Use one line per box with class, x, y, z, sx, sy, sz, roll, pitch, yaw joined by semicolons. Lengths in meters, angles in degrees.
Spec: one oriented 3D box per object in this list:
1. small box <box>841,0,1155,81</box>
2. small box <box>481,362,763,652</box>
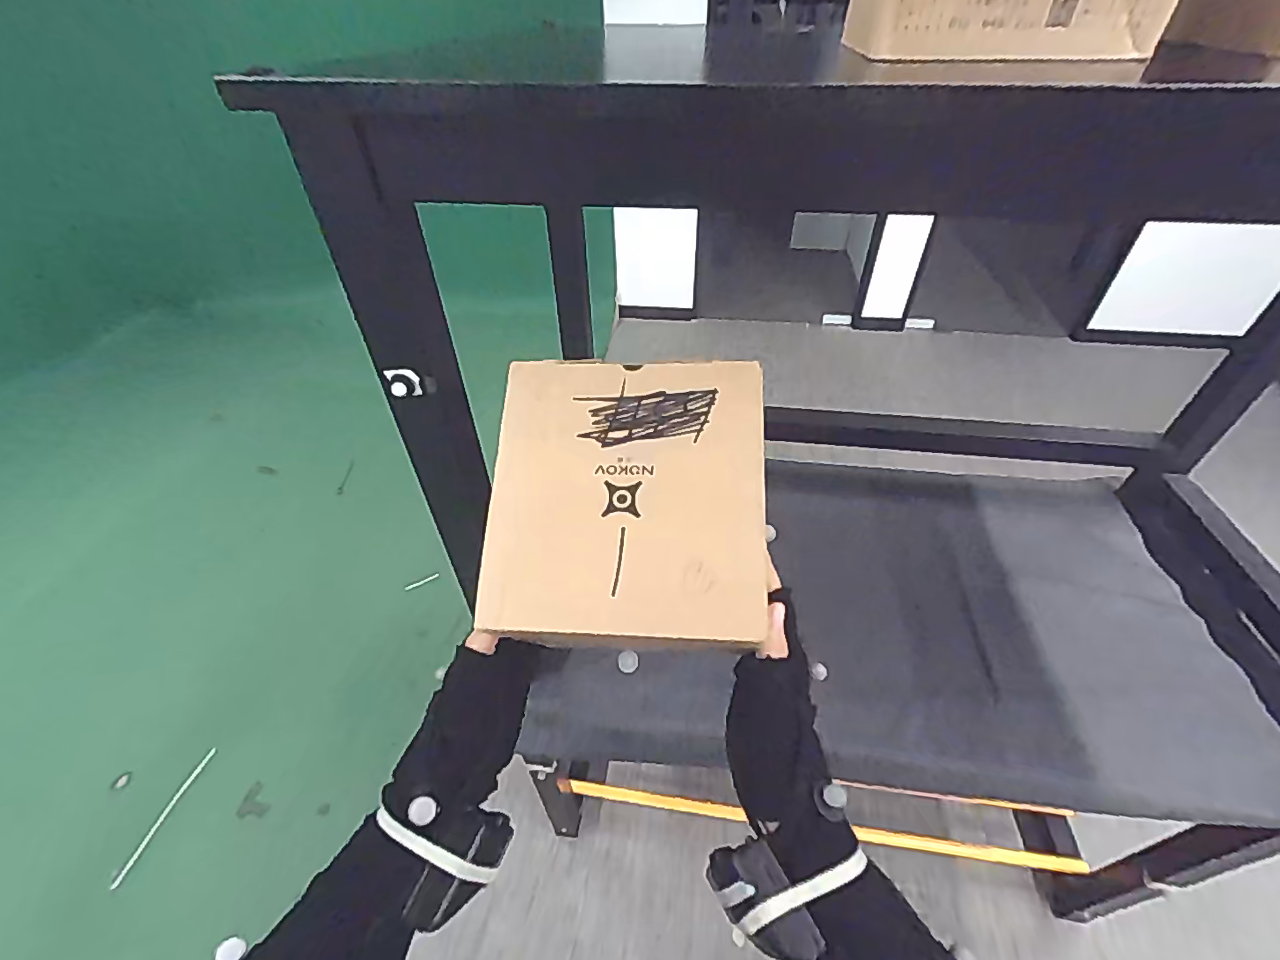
small box;0.244;-0.379;0.363;0.168;0.176;0.179;6;42;7
small box;-0.001;0.030;0.412;0.168;0.176;0.179;1;69;6
